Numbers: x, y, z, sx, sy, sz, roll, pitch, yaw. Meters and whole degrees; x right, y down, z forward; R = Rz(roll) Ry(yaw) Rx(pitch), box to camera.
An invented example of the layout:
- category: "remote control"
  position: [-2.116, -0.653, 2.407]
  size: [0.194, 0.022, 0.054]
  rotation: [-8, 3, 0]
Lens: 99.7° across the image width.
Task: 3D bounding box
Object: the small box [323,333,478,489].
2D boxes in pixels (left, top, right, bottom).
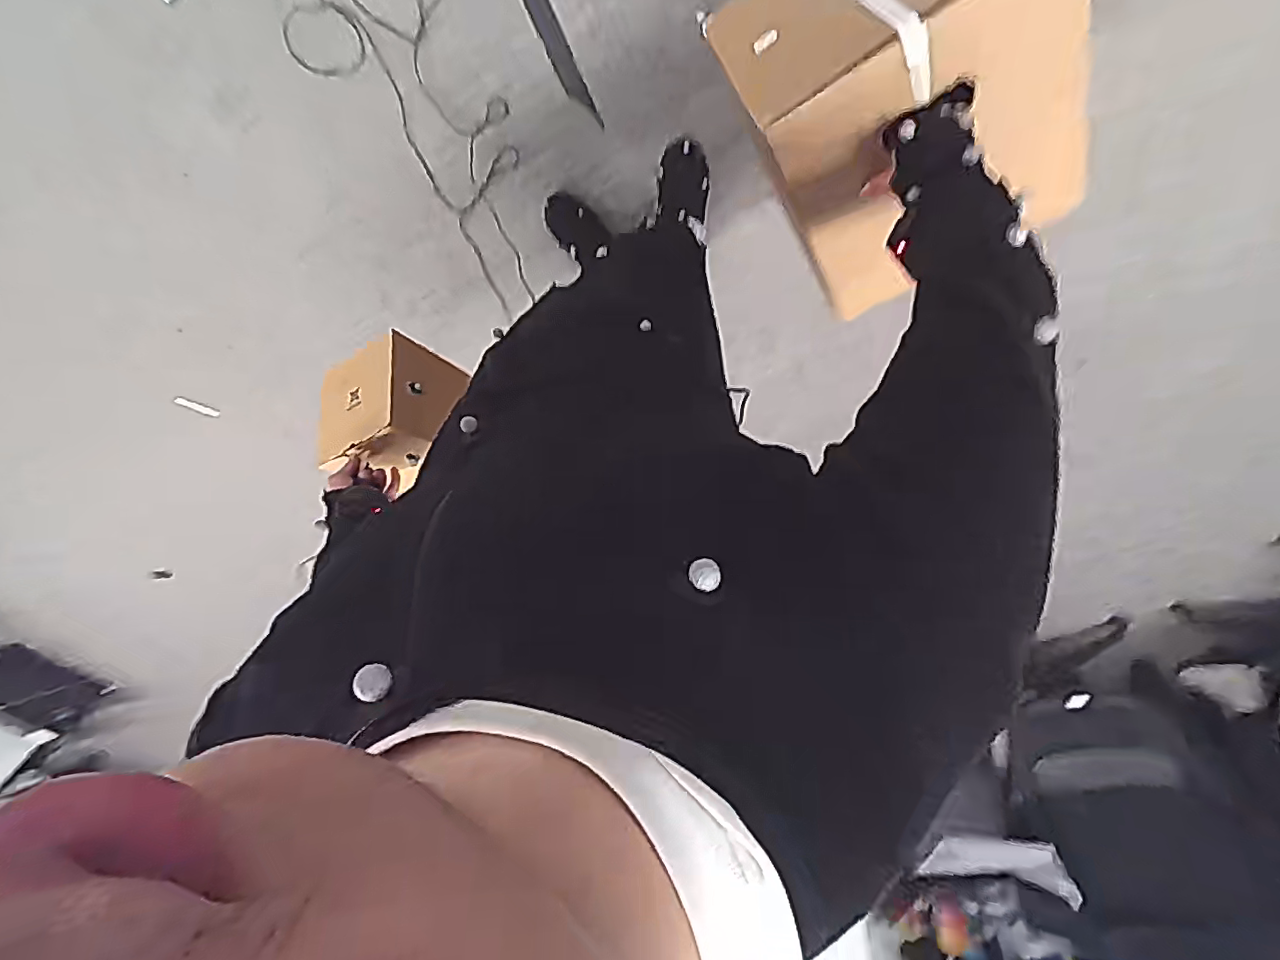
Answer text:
- category: "small box"
  position: [-0.382, -0.098, 0.882]
  size: [0.168, 0.179, 0.176]
  rotation: [-22, 152, 23]
